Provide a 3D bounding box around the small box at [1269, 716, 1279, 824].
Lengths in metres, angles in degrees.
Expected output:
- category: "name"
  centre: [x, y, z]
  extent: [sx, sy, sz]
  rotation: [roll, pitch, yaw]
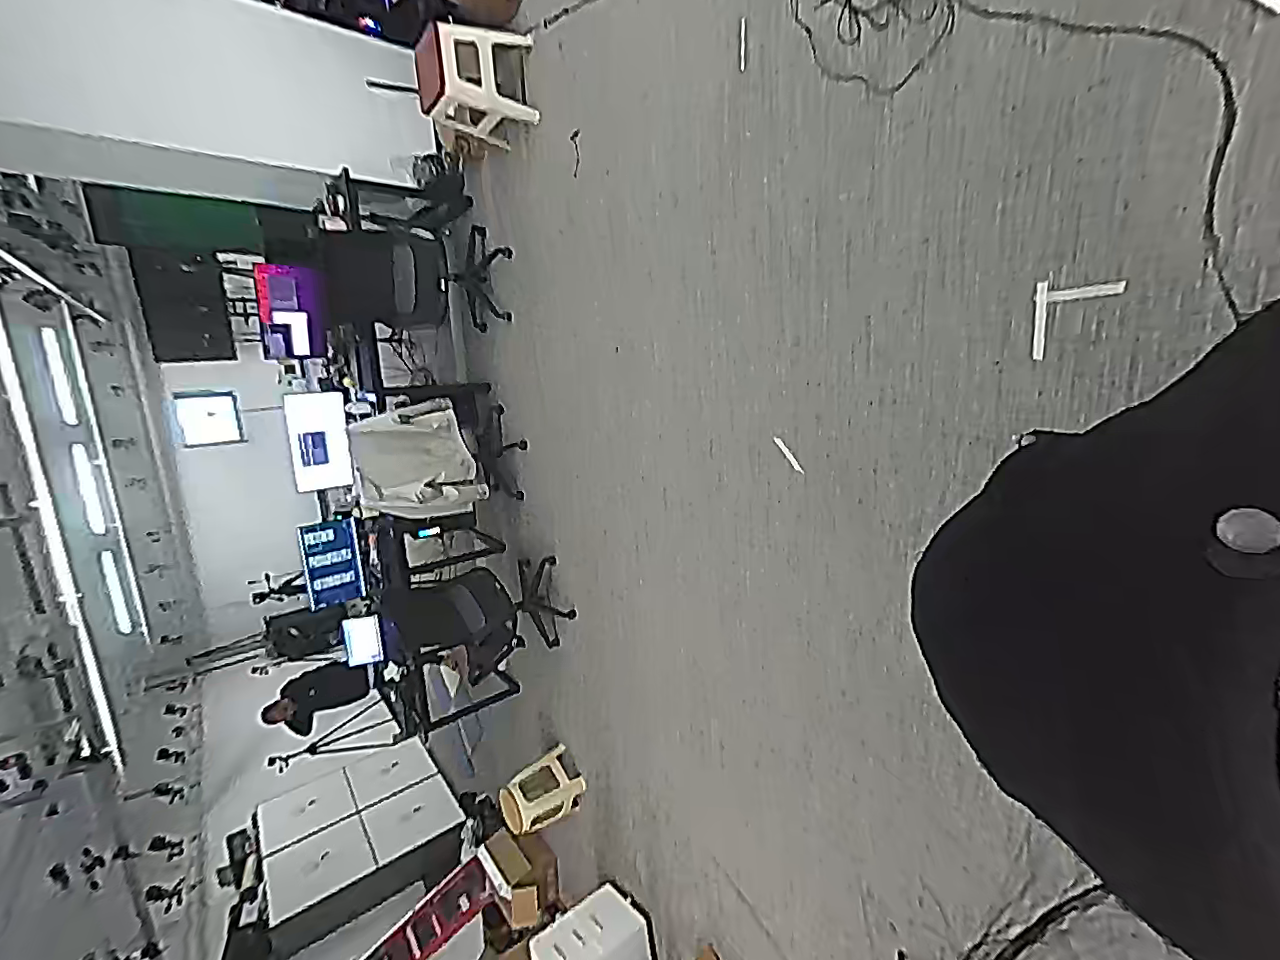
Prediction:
- category: "small box"
  centre: [0.956, 0.372, 0.693]
  extent: [0.179, 0.176, 0.168]
  rotation: [7, 106, 52]
